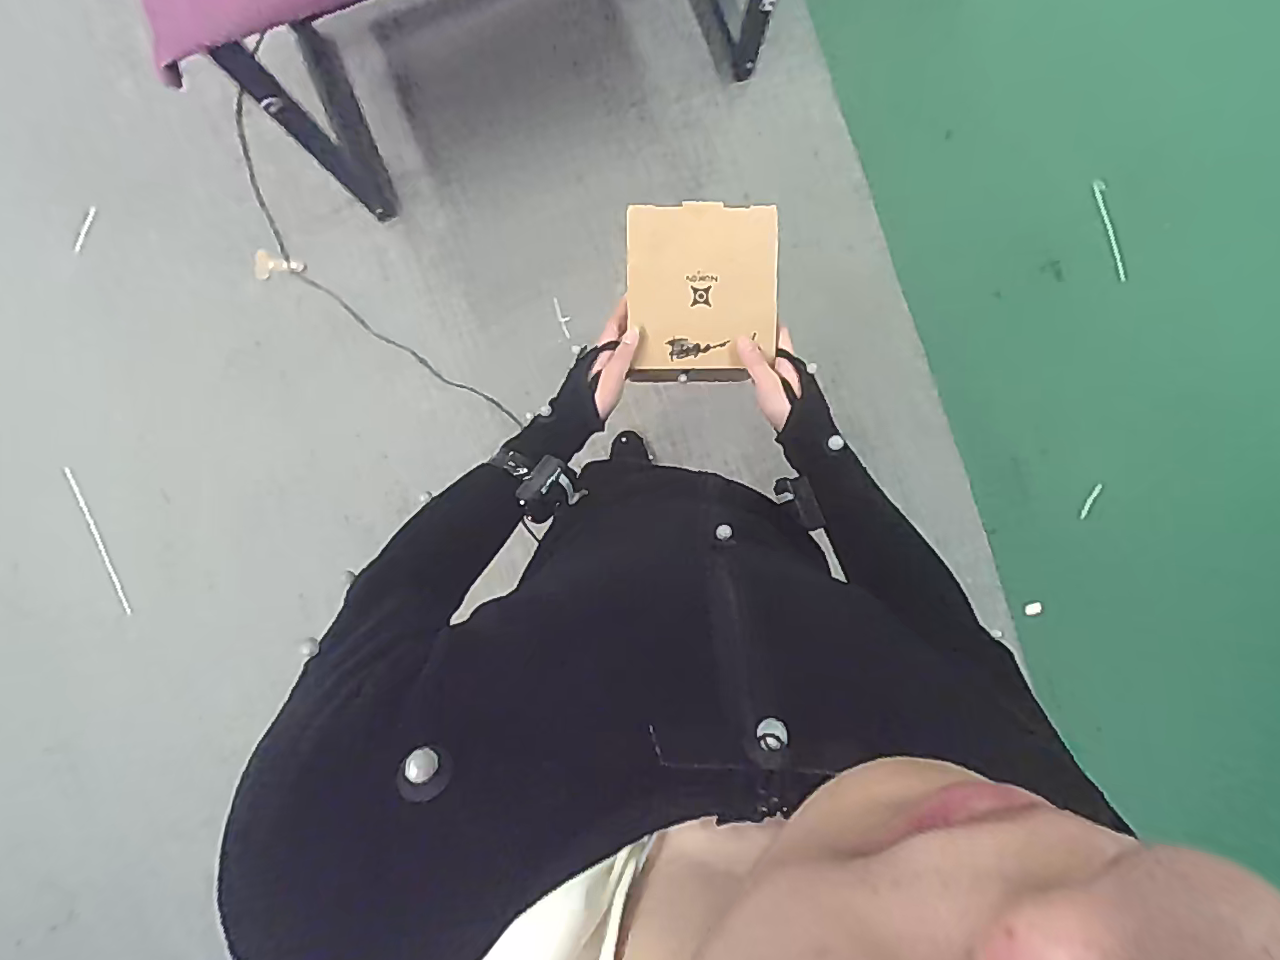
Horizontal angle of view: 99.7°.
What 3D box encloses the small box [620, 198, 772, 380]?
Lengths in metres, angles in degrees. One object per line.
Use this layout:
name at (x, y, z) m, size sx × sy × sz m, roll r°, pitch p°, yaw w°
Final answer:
small box at (0.058, -0.220, 0.664) m, size 0.168 × 0.176 × 0.179 m, roll 0°, pitch 96°, yaw -1°
